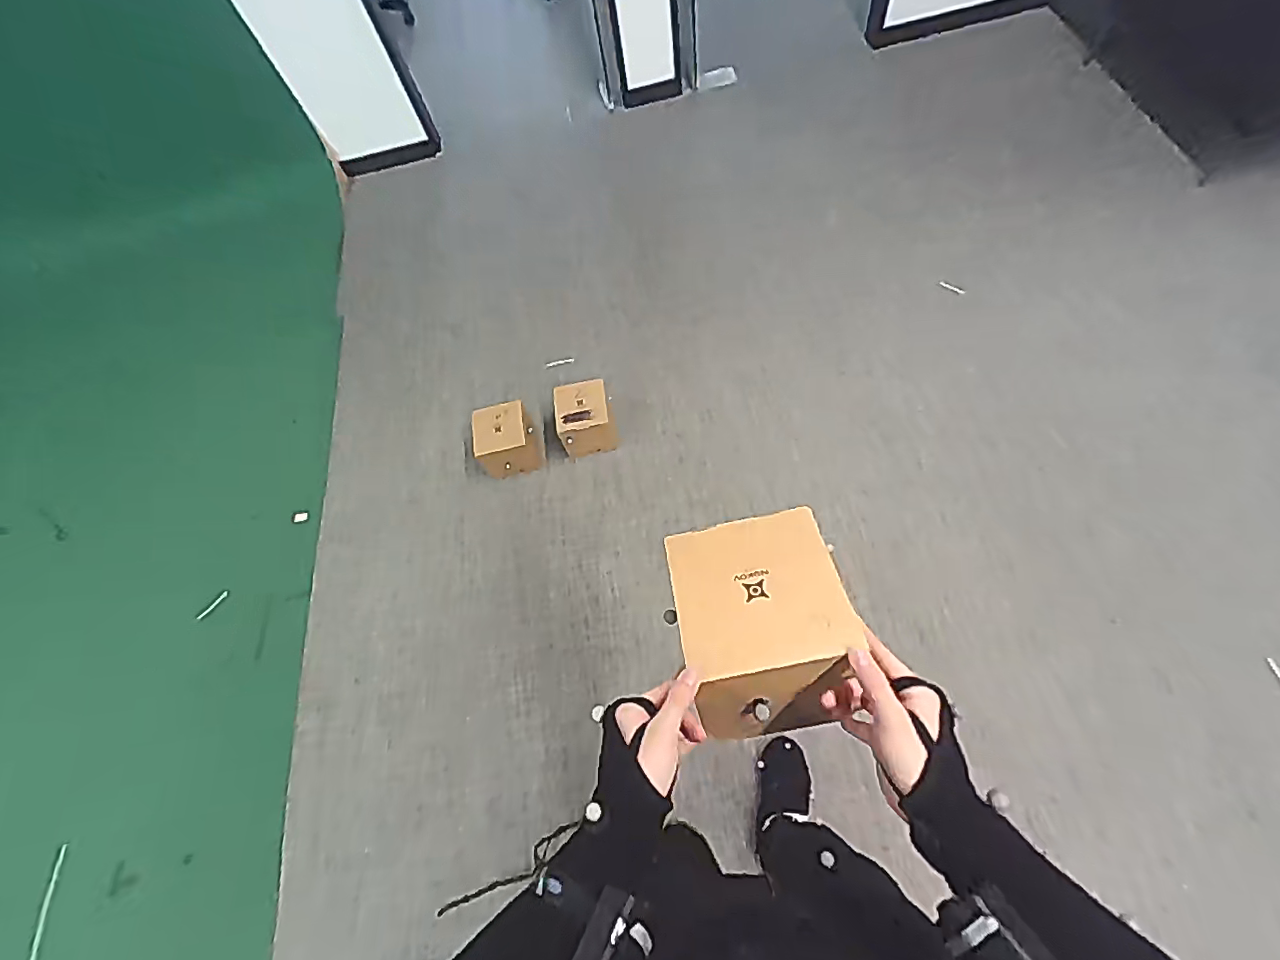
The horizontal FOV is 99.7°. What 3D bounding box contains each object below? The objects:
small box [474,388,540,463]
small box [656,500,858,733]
[{"bbox_3d":[-0.429,-0.169,1.756,0.168,0.176,0.179,-10,64,2],"label":"small box"},{"bbox_3d":[0.120,0.153,0.581,0.168,0.176,0.179,-12,44,5],"label":"small box"}]
